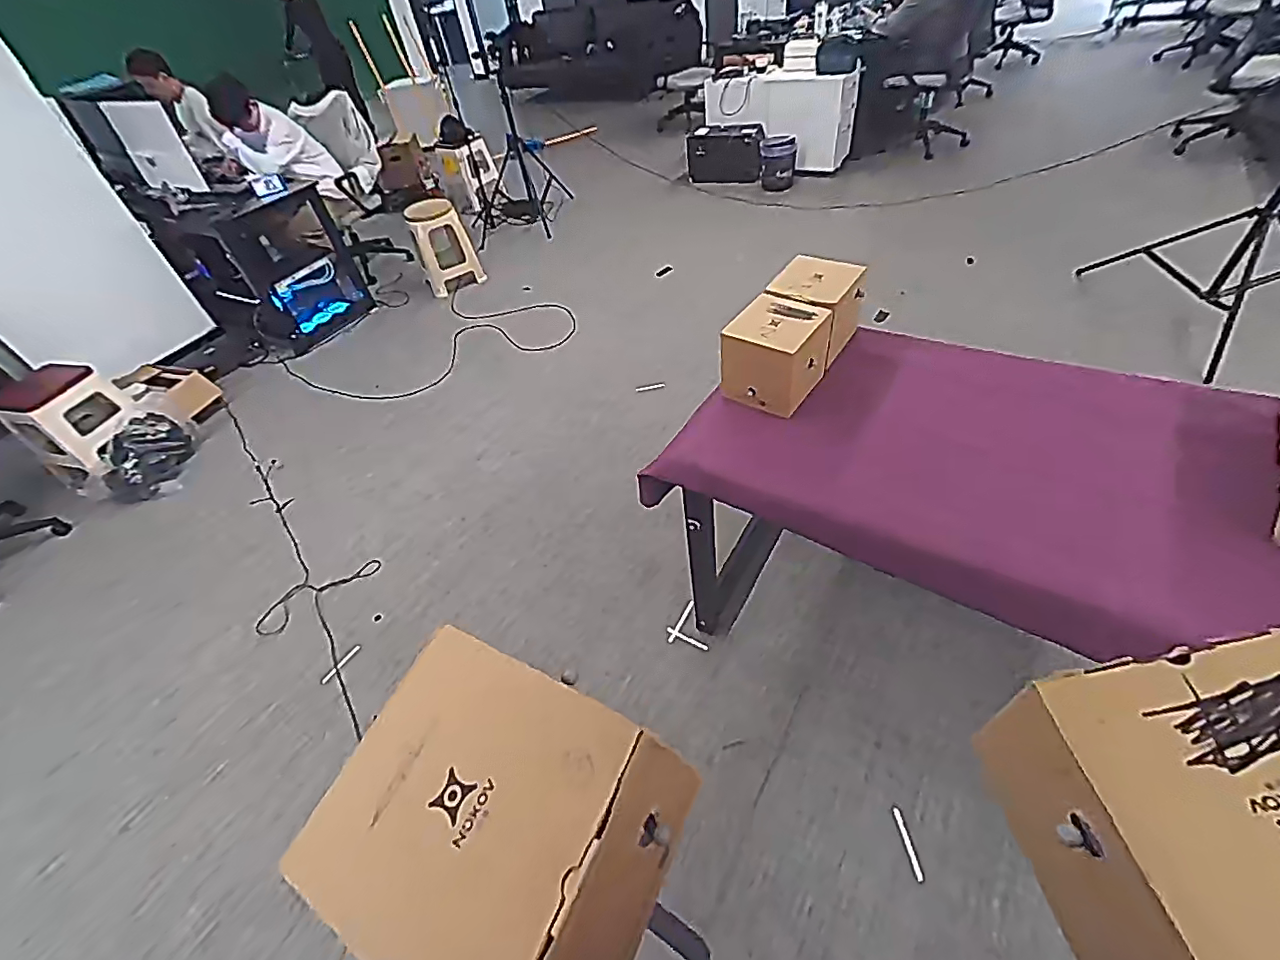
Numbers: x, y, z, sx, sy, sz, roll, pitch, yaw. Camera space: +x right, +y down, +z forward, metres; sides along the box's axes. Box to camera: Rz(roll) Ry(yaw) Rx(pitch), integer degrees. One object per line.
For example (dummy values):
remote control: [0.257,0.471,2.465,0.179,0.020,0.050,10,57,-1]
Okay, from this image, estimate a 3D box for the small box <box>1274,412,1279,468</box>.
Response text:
small box: [1.165,-0.090,0.850,0.168,0.176,0.179,25,54,28]

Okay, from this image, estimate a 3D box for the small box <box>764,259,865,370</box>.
small box: [0.397,-0.386,1.259,0.168,0.176,0.179,25,56,29]

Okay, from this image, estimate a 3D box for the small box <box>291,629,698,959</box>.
small box: [-0.078,0.235,0.376,0.179,0.176,0.168,14,59,30]

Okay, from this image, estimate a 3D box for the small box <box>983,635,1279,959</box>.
small box: [0.347,0.219,0.328,0.168,0.176,0.179,-15,51,6]
